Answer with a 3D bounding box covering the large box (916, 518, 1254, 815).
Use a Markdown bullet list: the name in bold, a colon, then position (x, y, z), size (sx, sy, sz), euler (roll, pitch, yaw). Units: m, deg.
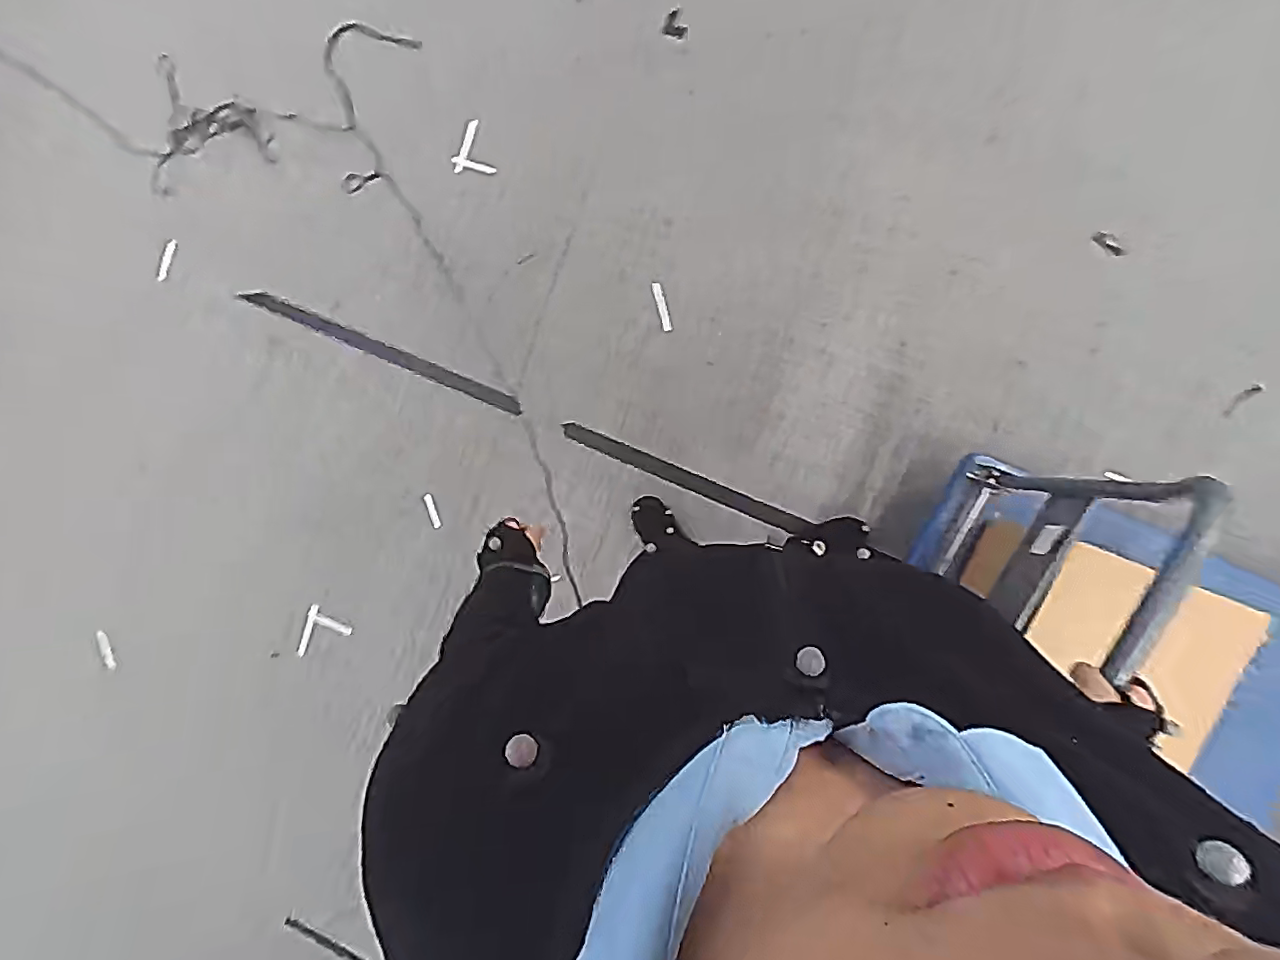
- **large box**: position (0.822, 0.328, 1.070), size (0.320, 0.320, 0.408), euler (23, 97, 9)
